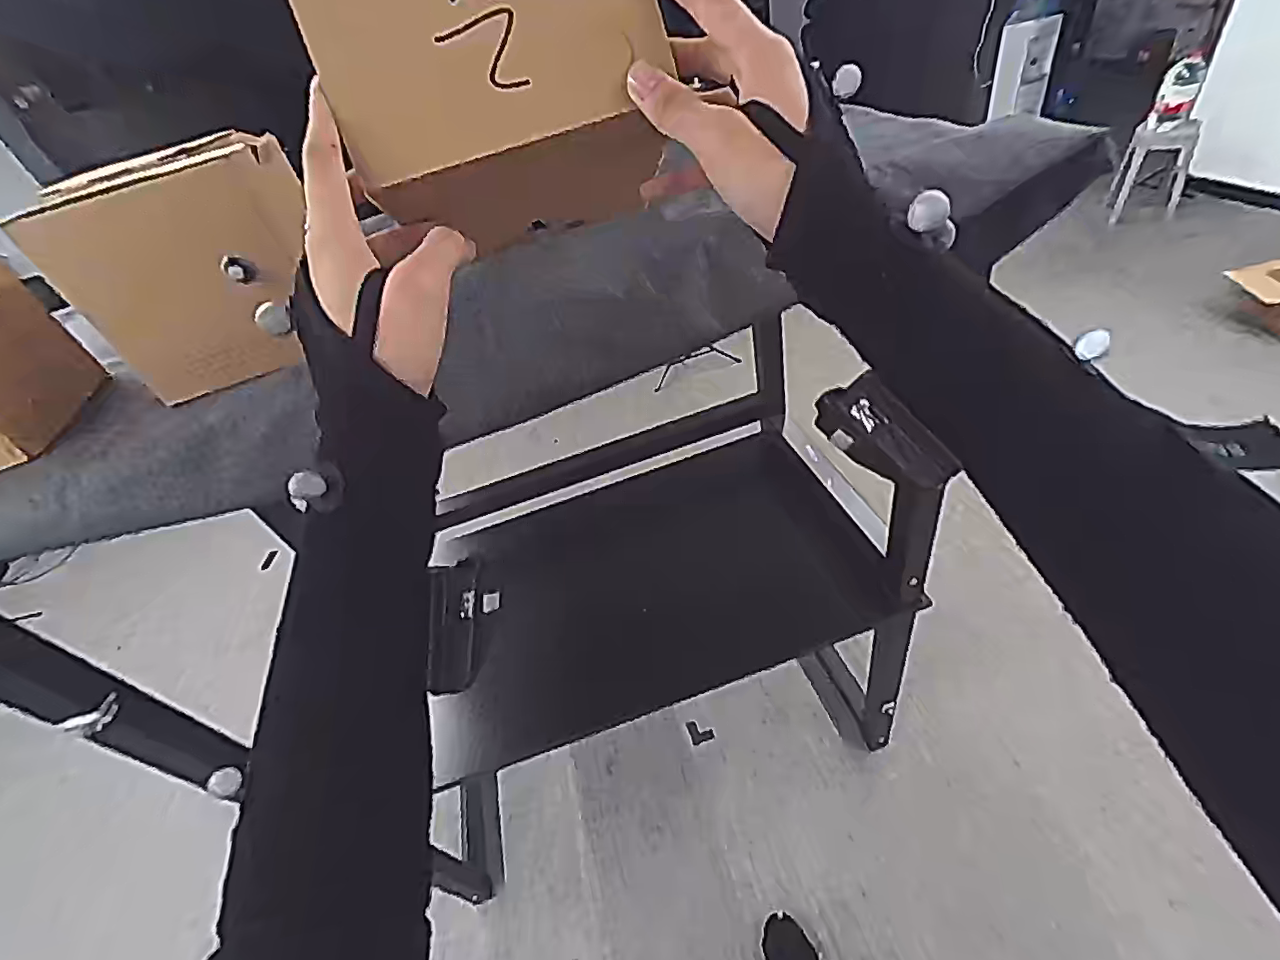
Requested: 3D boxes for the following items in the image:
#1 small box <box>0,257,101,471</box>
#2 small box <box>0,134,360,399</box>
[{"bbox_3d":[-0.660,-0.100,0.487,0.168,0.176,0.179,-22,42,-6],"label":"small box"},{"bbox_3d":[-0.397,-0.205,0.516,0.179,0.176,0.168,-21,40,-6],"label":"small box"}]
